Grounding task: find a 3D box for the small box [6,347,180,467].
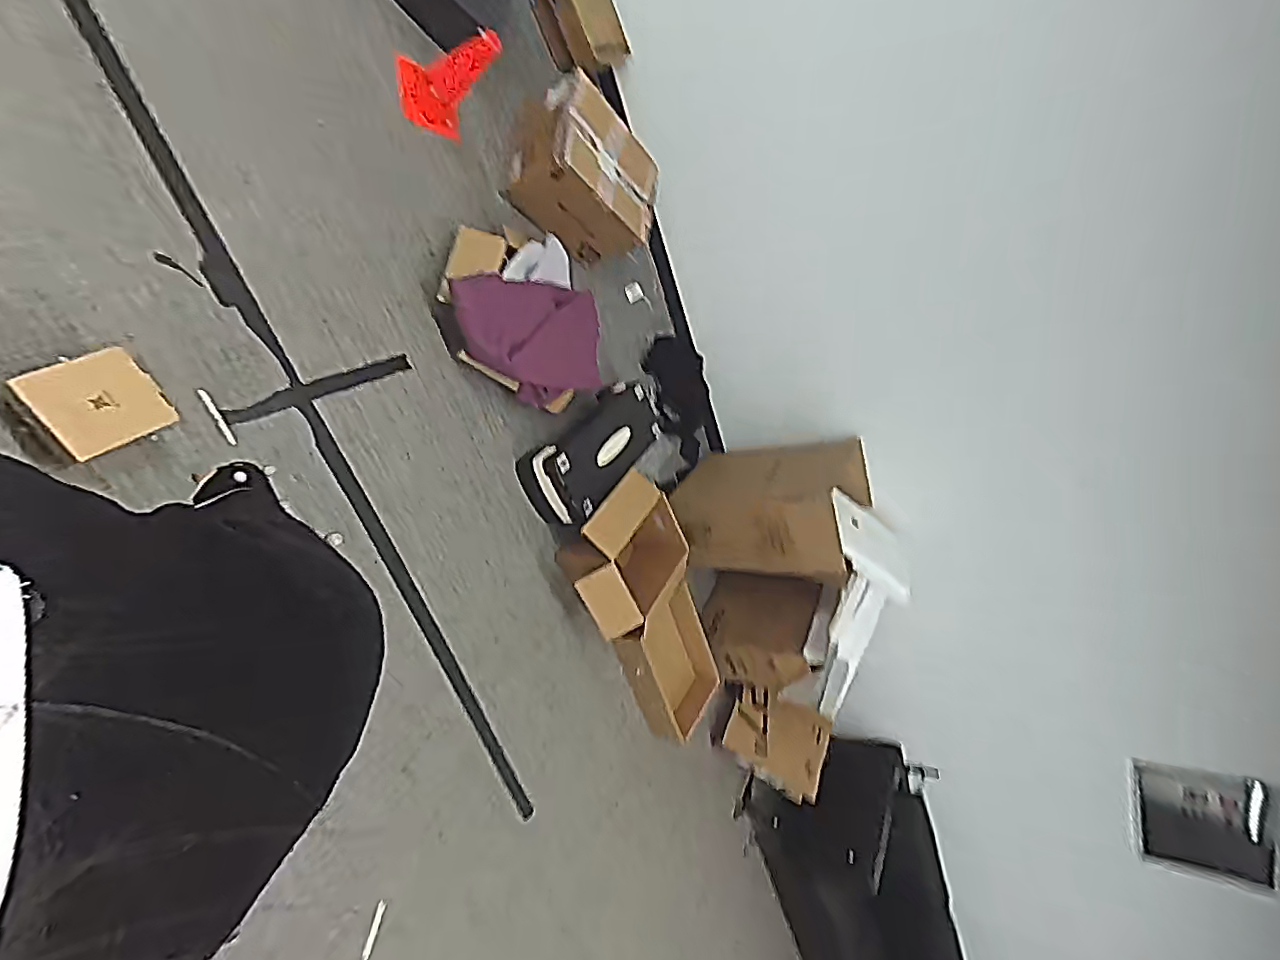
[{"bbox_3d":[-1.064,-0.140,1.054,0.179,0.176,0.168,-47,122,-42],"label":"small box"}]
